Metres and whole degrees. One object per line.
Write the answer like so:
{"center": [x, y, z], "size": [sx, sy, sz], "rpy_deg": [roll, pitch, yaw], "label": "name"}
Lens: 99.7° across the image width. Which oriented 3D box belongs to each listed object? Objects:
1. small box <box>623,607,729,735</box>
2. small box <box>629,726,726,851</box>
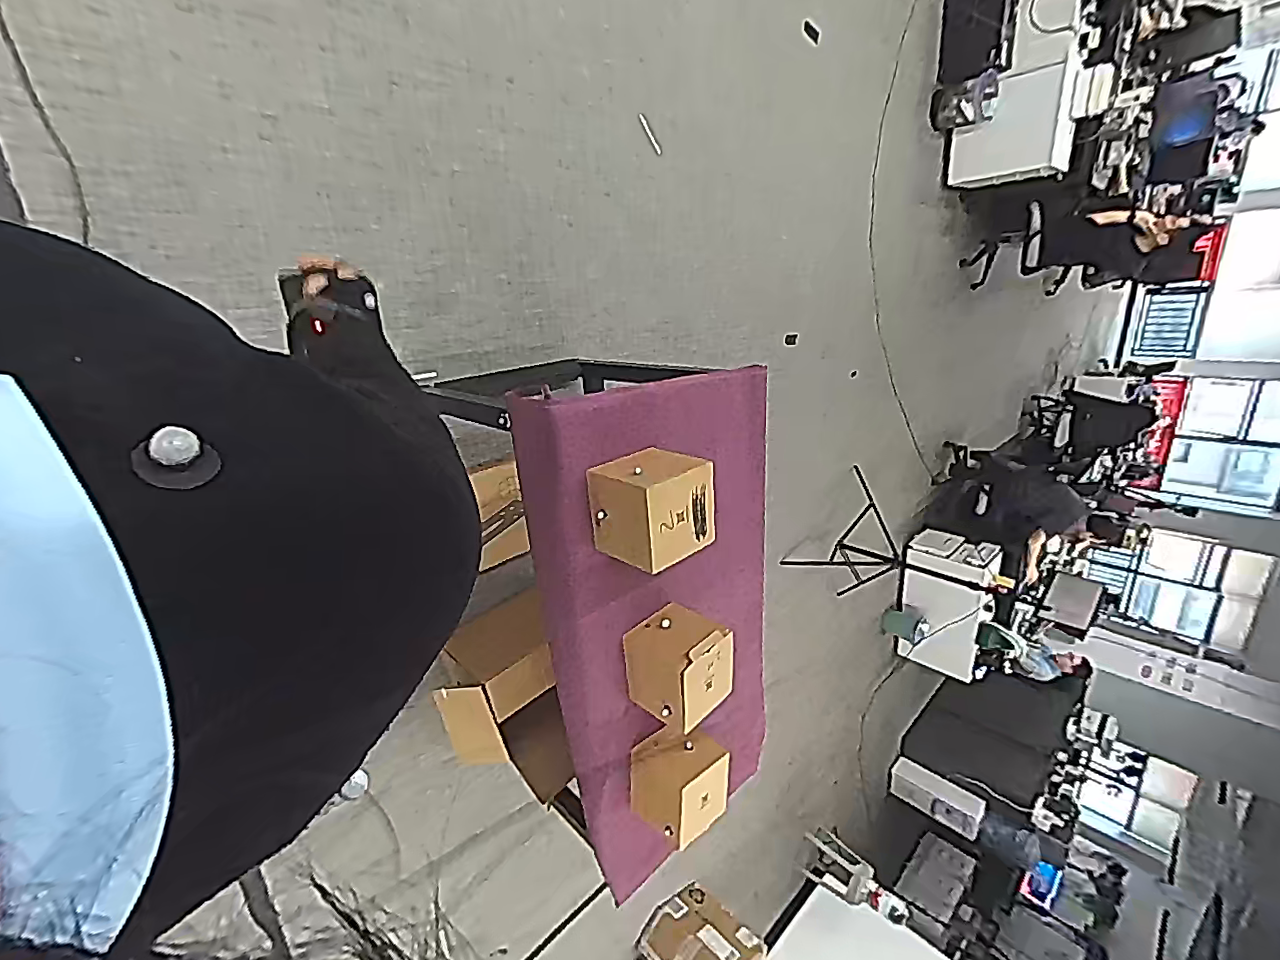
{"center": [0.080, 0.410, 1.192], "size": [0.168, 0.176, 0.179], "rpy_deg": [-23, 117, -41], "label": "small box"}
{"center": [0.086, 0.714, 1.286], "size": [0.168, 0.176, 0.179], "rpy_deg": [-13, 111, -42], "label": "small box"}
